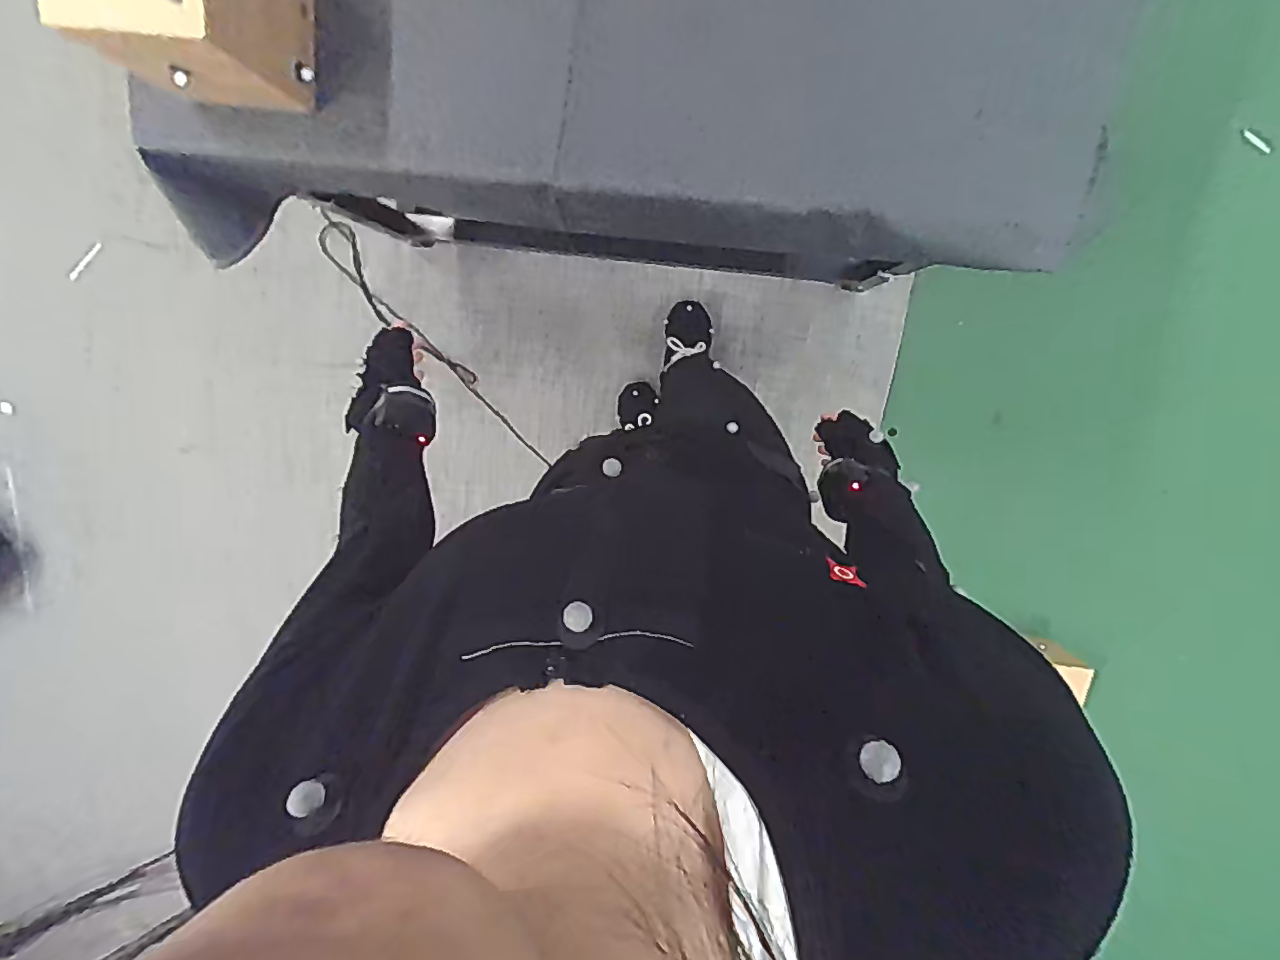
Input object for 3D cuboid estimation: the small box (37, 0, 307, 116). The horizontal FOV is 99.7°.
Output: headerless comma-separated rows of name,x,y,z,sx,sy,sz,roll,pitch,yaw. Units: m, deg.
small box,-0.498,-0.531,0.597,0.179,0.176,0.168,7,102,2
